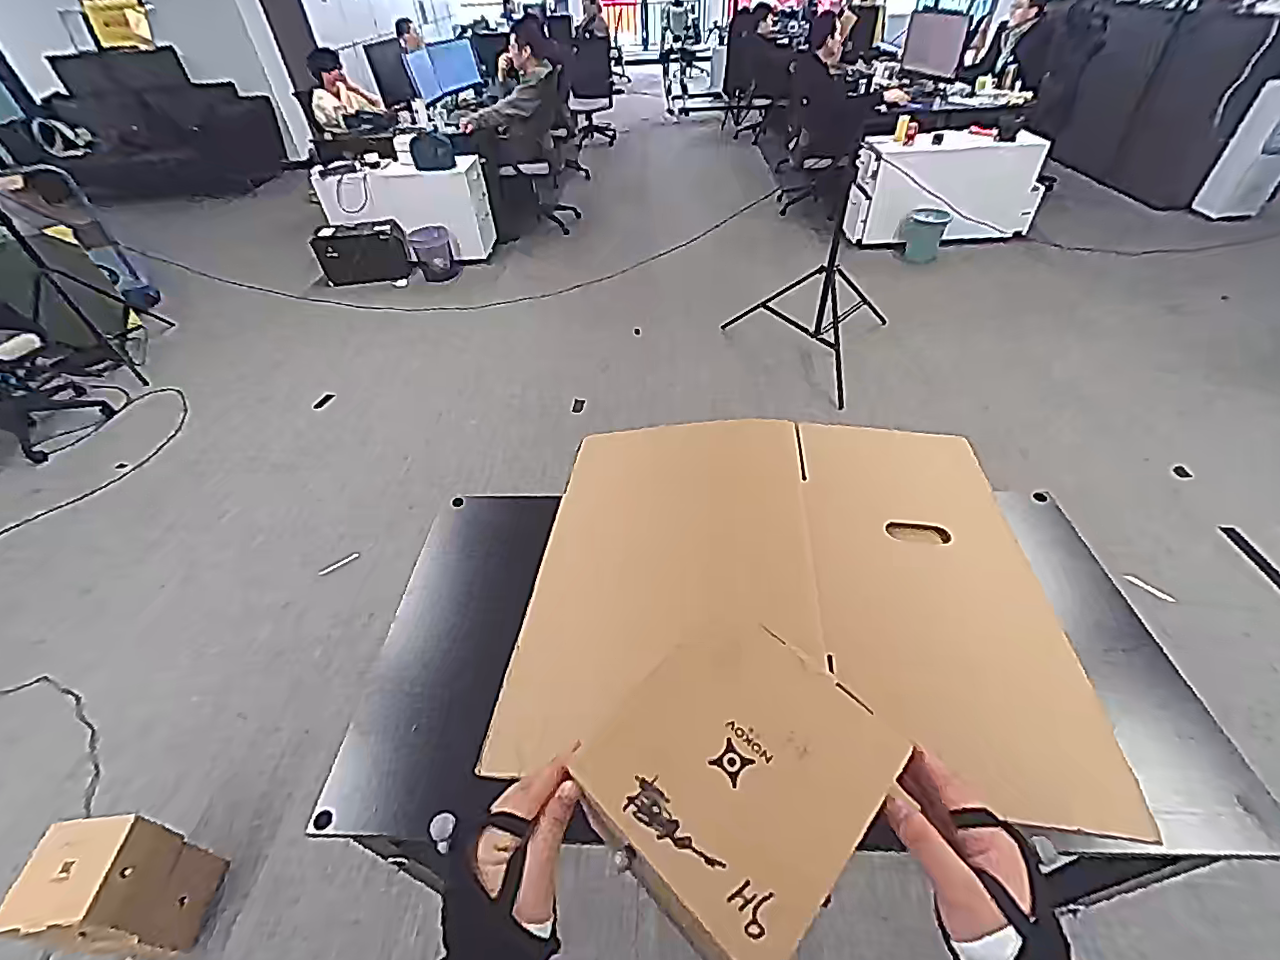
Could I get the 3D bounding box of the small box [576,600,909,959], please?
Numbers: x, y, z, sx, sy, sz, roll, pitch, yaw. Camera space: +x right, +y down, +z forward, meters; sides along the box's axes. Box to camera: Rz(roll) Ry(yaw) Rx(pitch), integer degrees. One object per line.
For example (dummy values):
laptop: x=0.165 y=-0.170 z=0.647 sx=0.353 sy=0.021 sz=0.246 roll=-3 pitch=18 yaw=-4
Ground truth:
small box: x=0.071 y=0.238 z=0.427 sx=0.168 sy=0.176 sz=0.179 roll=34 pitch=56 yaw=30

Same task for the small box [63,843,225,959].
small box: x=-1.062 y=0.922 z=1.183 sx=0.168 sy=0.176 sz=0.179 roll=-4 pitch=44 yaw=0

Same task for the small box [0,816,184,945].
small box: x=-1.071 y=0.800 z=1.076 sx=0.168 sy=0.176 sz=0.179 roll=-5 pitch=42 yaw=-3
